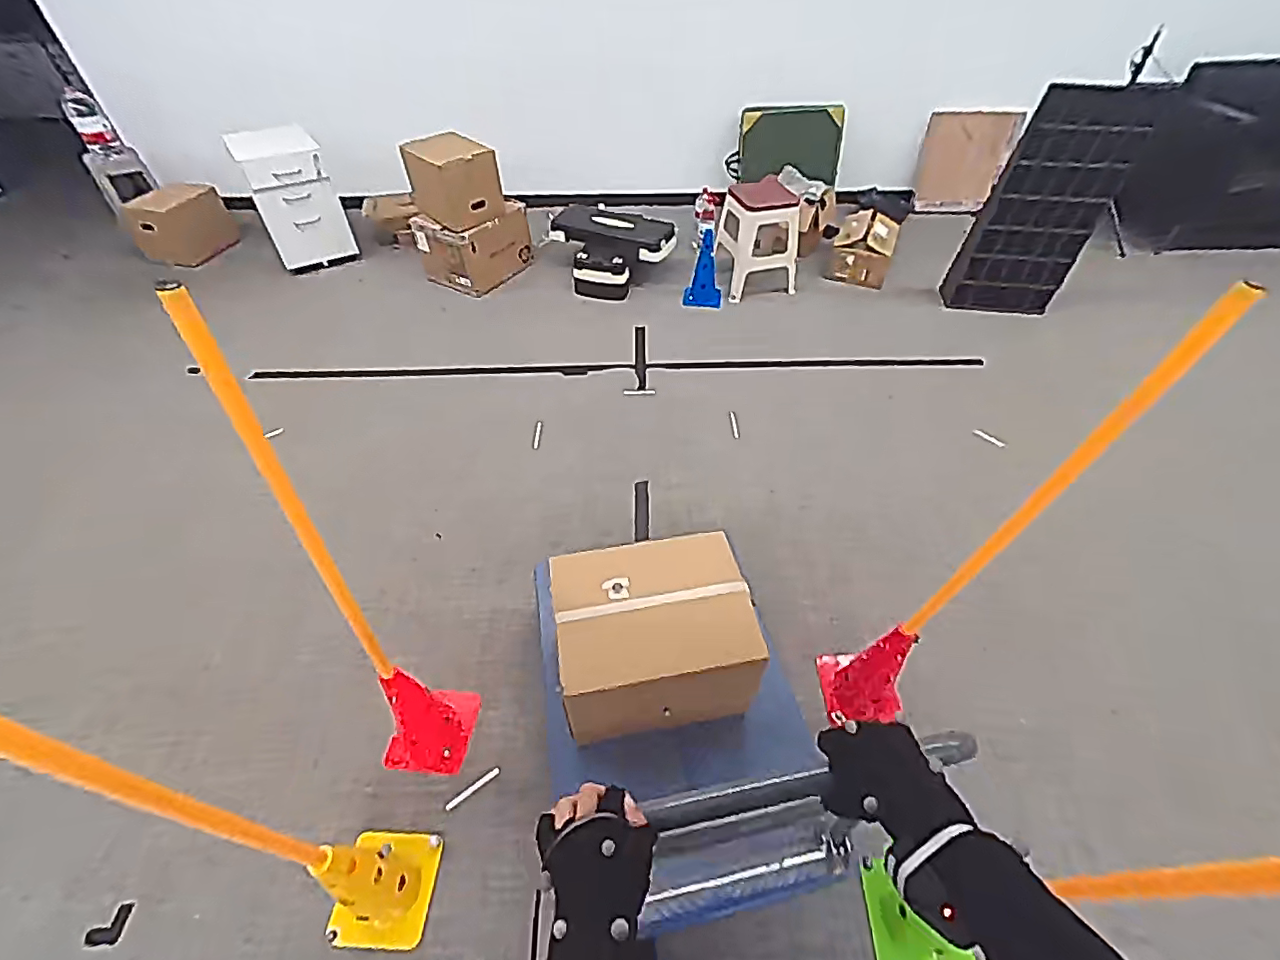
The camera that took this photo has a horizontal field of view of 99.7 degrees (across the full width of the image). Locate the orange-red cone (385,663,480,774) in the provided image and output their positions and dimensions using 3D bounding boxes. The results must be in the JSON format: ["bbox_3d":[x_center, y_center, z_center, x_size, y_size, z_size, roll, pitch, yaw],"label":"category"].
[{"bbox_3d":[-0.529,0.525,1.276,0.198,0.360,0.199,5,46,4],"label":"orange-red cone"}]

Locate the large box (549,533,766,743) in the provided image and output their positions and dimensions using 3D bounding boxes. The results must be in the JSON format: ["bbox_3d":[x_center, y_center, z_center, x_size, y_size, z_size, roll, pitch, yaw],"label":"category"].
[{"bbox_3d":[0.026,0.361,1.232,0.408,0.320,0.320,-9,48,-7],"label":"large box"}]

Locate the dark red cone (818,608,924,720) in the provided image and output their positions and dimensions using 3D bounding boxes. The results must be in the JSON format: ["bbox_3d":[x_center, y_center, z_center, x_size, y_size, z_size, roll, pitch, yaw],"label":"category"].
[{"bbox_3d":[0.600,0.434,1.335,0.201,0.394,0.202,1,47,-2],"label":"dark red cone"}]

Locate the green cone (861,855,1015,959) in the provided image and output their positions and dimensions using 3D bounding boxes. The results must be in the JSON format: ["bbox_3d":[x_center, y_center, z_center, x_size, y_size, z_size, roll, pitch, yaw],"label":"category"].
[{"bbox_3d":[0.587,0.801,1.017,0.202,0.368,0.200,3,47,1],"label":"green cone"}]
